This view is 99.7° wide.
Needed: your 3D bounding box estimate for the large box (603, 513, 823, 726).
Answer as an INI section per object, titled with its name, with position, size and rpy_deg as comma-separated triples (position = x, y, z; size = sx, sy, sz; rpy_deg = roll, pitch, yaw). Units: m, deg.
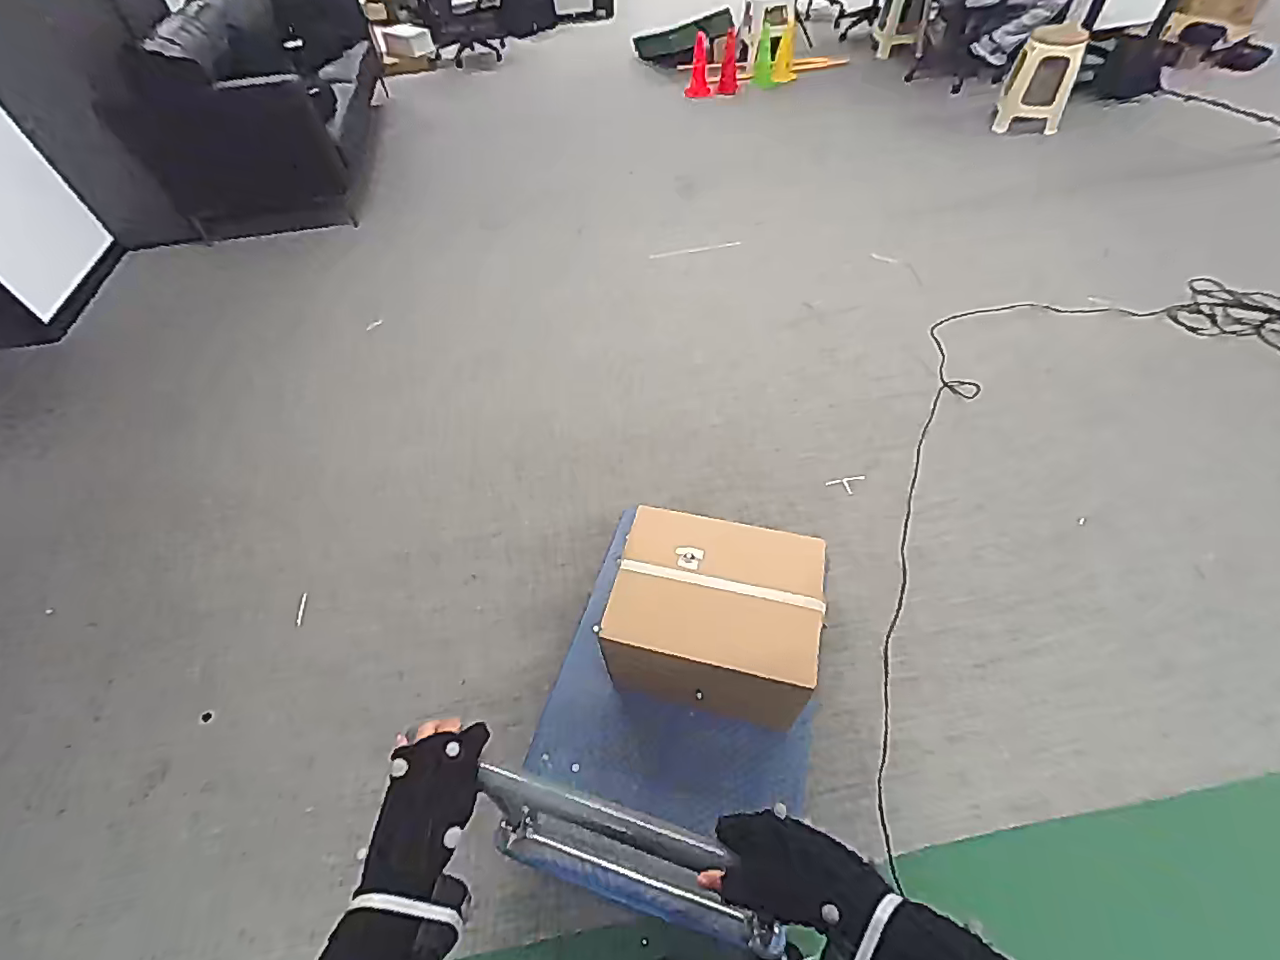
[large box]
position = 0.169, 0.308, 1.190
size = 0.408, 0.320, 0.320
rpy_deg = 9, 53, 12
